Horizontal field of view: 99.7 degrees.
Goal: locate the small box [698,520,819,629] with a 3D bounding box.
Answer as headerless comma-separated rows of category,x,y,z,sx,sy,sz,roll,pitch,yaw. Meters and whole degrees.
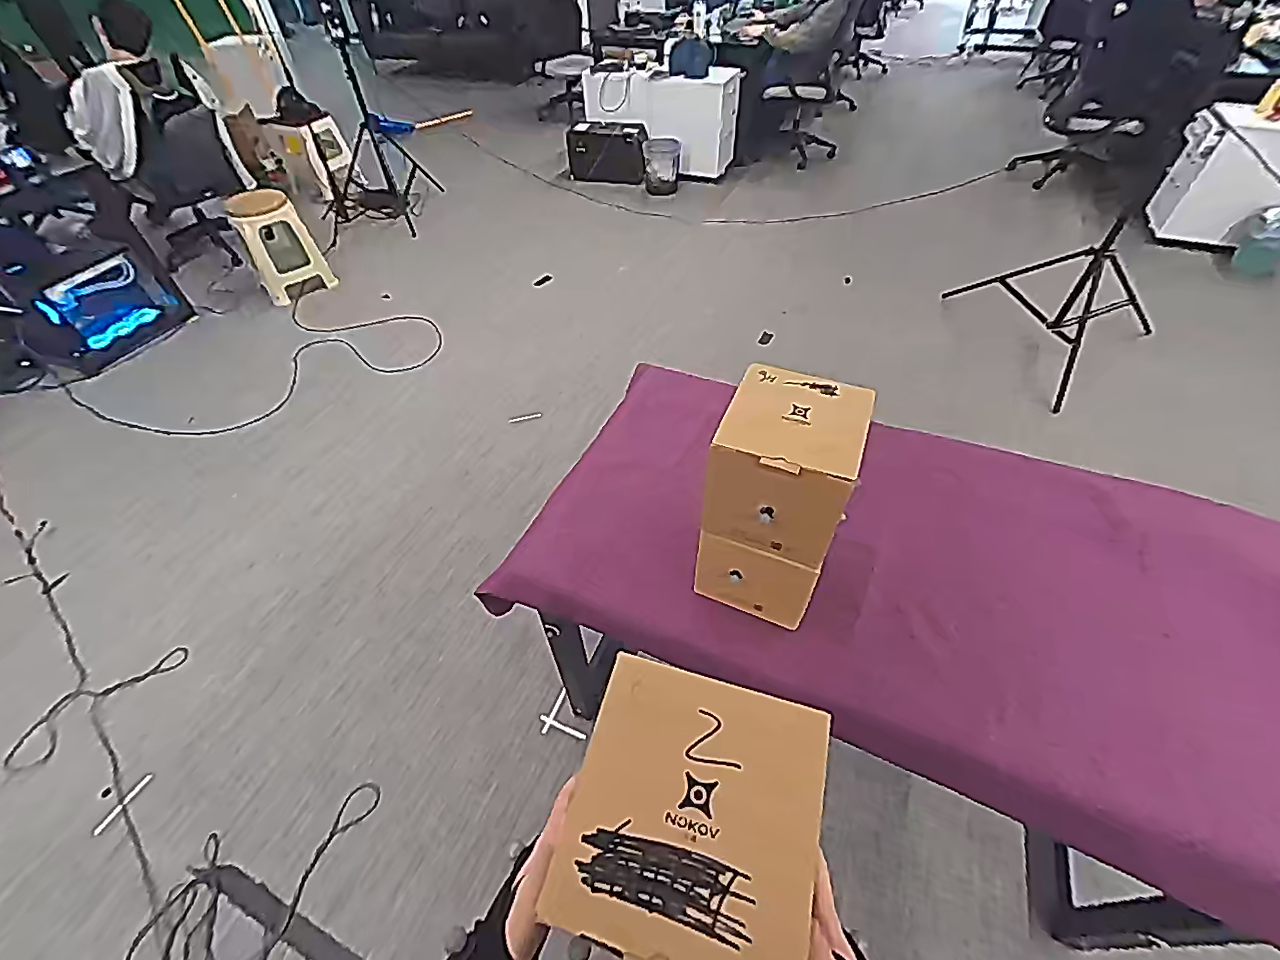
small box,0.195,0.100,0.837,0.168,0.176,0.179,18,50,17

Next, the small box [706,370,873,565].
small box,0.191,-0.015,0.720,0.168,0.176,0.179,17,50,16
